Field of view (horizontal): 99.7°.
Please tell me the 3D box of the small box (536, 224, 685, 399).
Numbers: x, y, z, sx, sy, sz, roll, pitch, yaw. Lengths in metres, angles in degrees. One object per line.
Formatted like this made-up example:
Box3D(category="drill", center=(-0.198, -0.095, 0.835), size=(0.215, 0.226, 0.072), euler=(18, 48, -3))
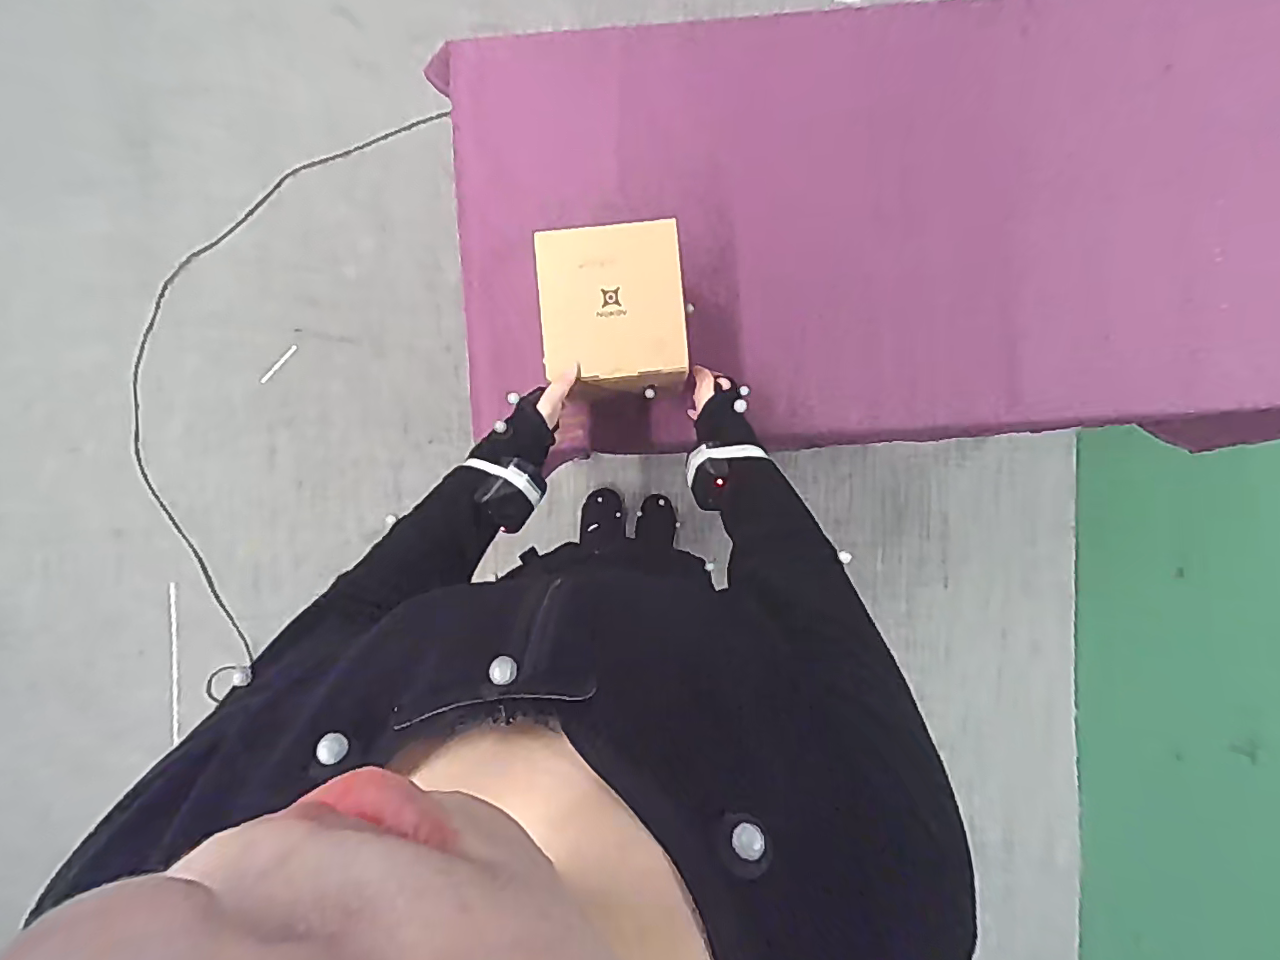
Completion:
Box3D(category="small box", center=(-0.032, -0.202, 0.700), size=(0.168, 0.176, 0.179), euler=(-5, 89, 0))
